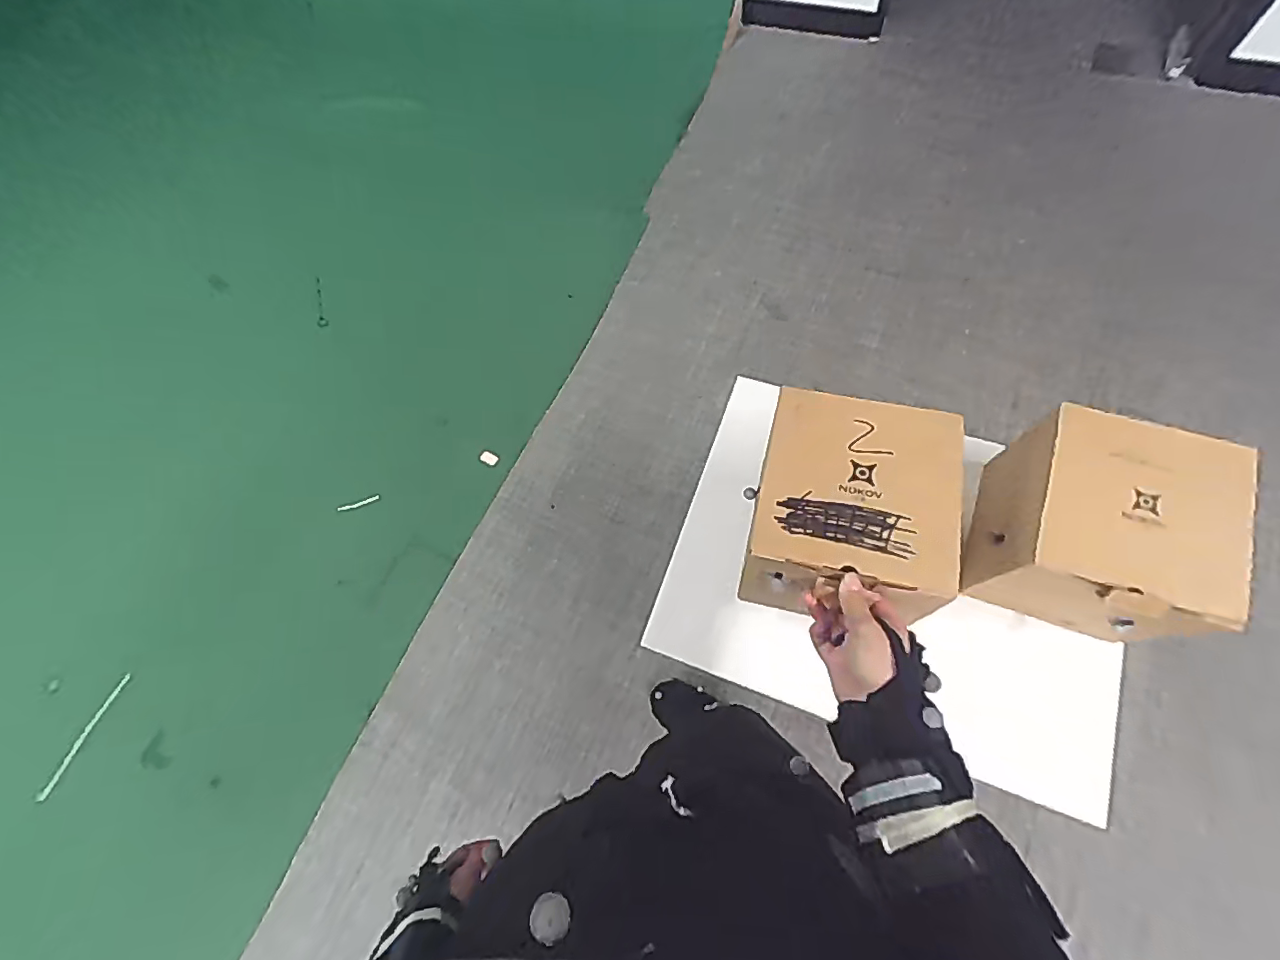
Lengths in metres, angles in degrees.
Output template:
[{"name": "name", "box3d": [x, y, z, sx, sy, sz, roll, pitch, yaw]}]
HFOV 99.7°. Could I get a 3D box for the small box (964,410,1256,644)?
[{"name": "small box", "box3d": [0.468, 0.059, 0.564, 0.168, 0.176, 0.179, 18, 72, 13]}]
